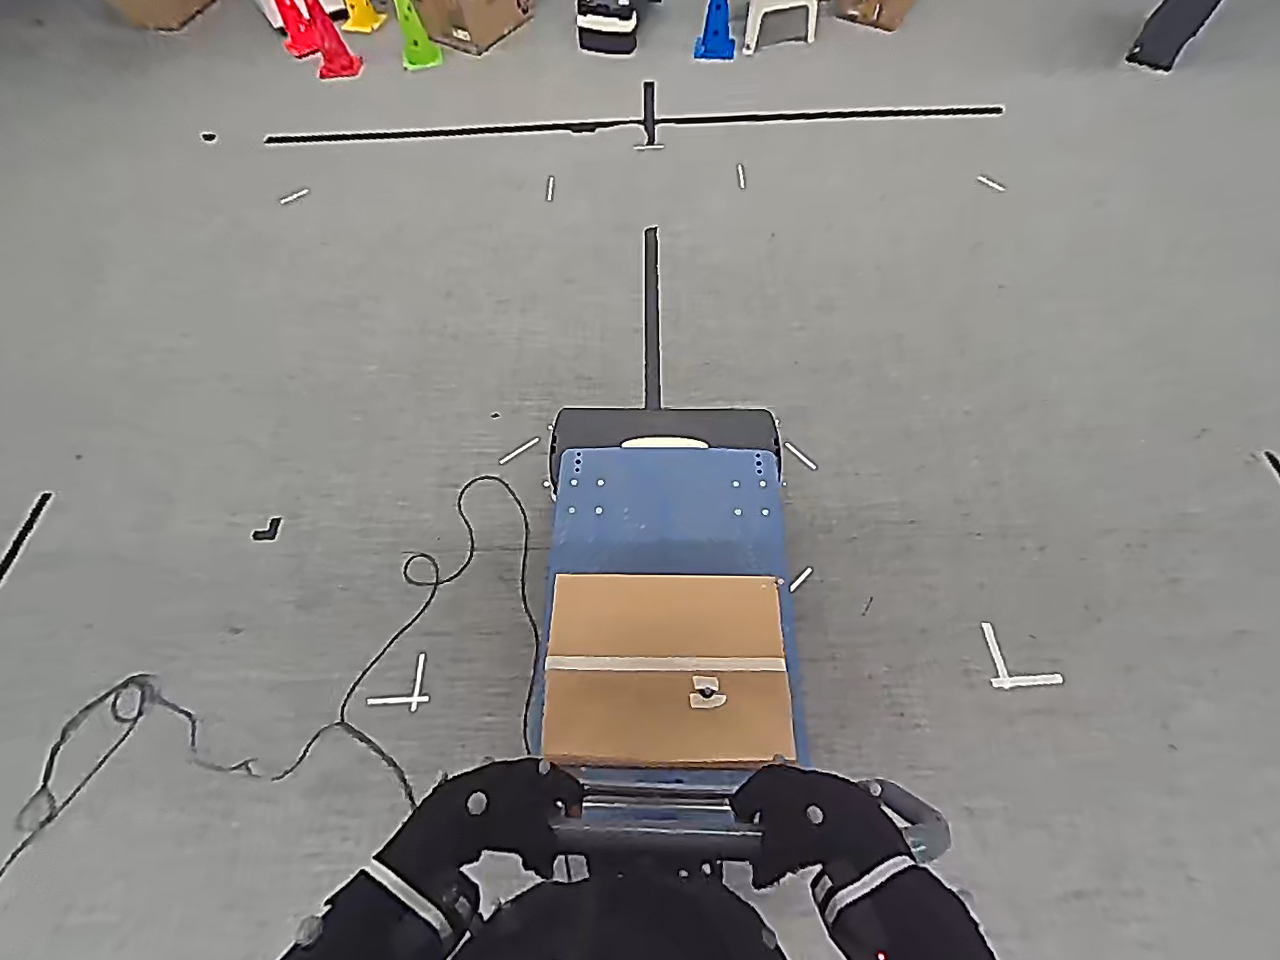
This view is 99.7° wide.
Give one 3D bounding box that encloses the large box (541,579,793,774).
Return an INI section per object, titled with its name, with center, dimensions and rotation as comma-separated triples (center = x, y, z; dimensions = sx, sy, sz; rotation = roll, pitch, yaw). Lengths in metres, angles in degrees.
[large box]
center = 0.041, 0.388, 1.041
dimensions = 0.408, 0.320, 0.320
rotation = 1, 63, 1
